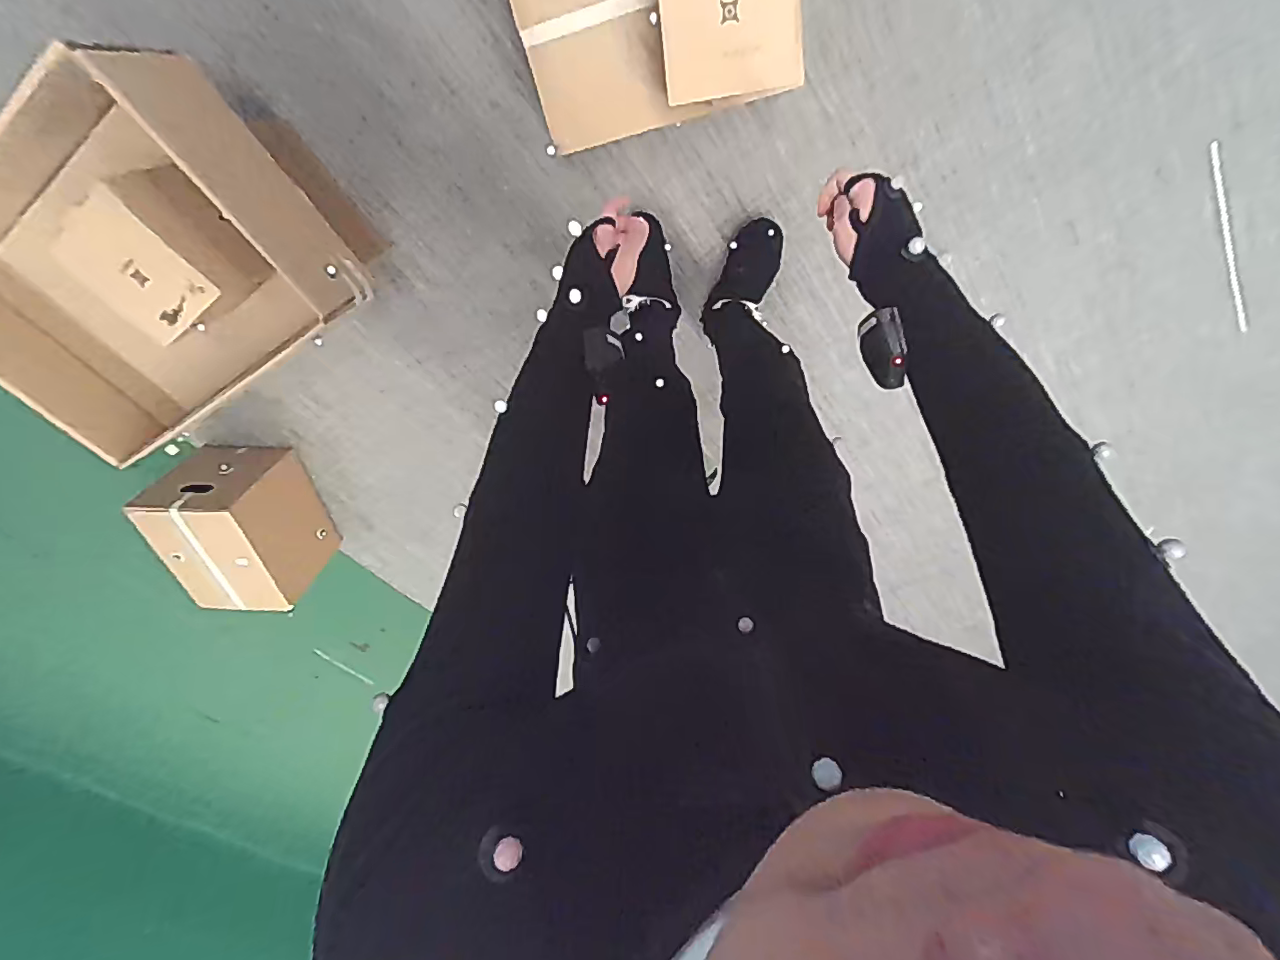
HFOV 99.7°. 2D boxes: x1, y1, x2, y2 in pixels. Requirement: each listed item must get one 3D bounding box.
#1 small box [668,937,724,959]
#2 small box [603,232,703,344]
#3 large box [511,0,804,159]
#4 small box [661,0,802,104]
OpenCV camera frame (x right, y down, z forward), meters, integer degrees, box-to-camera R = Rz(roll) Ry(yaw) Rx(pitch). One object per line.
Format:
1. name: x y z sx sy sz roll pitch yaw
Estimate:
1. small box: 0.220 1.884 2.073 0.168 0.176 0.179 -25 121 20
2. small box: 0.029 -0.442 1.242 0.179 0.176 0.168 31 121 -8
3. large box: 0.030 -0.773 0.881 0.408 0.320 0.320 -9 126 12
4. small box: 0.111 -0.605 0.695 0.168 0.176 0.179 -4 129 8
